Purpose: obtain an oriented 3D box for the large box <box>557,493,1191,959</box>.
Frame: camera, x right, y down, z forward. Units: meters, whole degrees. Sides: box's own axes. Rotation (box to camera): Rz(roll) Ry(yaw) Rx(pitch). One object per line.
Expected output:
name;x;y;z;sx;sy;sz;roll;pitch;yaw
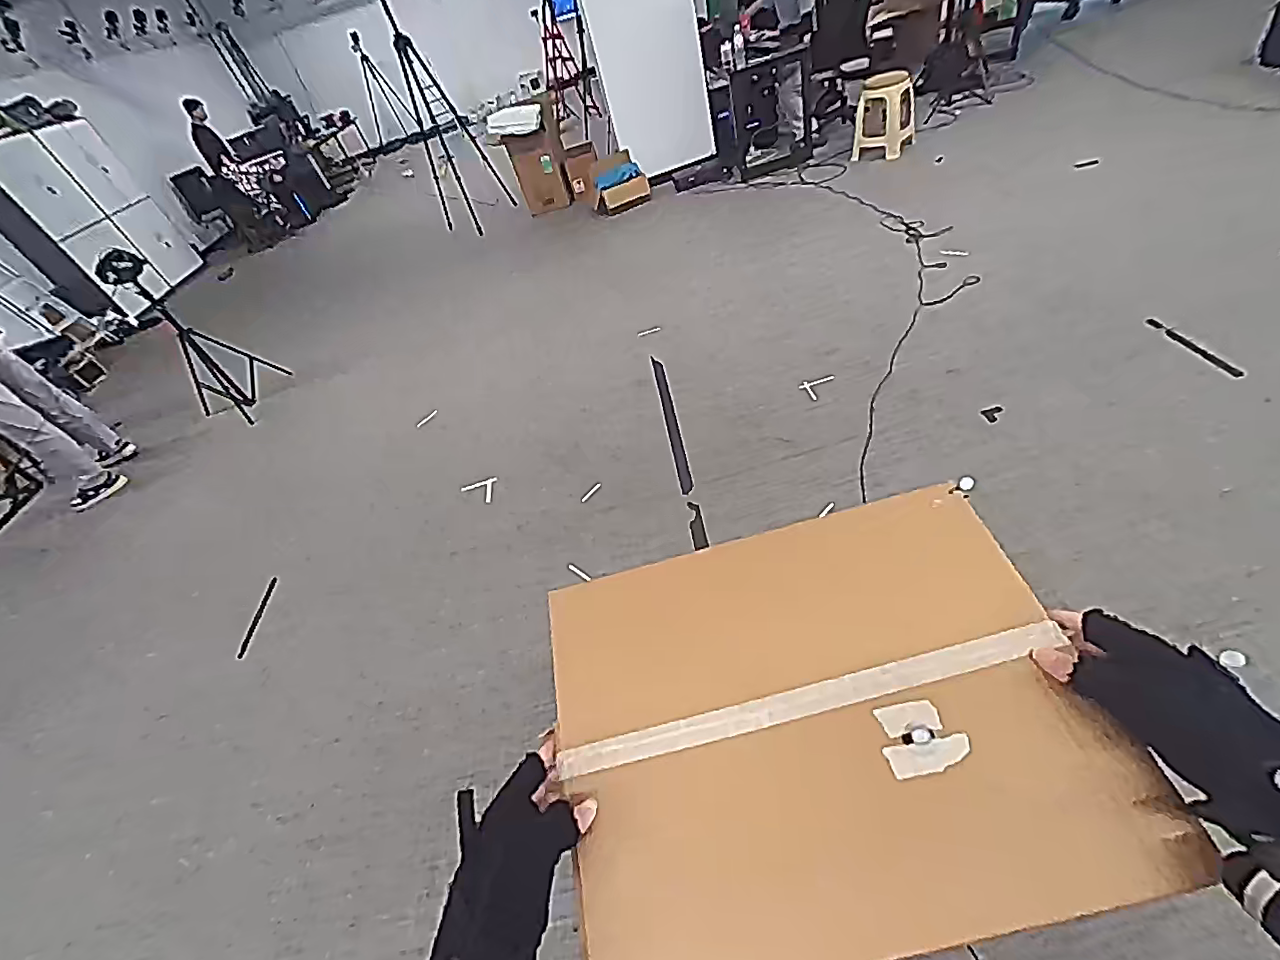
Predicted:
large box;0.165;0.272;0.558;0.408;0.320;0.320;-16;52;3
